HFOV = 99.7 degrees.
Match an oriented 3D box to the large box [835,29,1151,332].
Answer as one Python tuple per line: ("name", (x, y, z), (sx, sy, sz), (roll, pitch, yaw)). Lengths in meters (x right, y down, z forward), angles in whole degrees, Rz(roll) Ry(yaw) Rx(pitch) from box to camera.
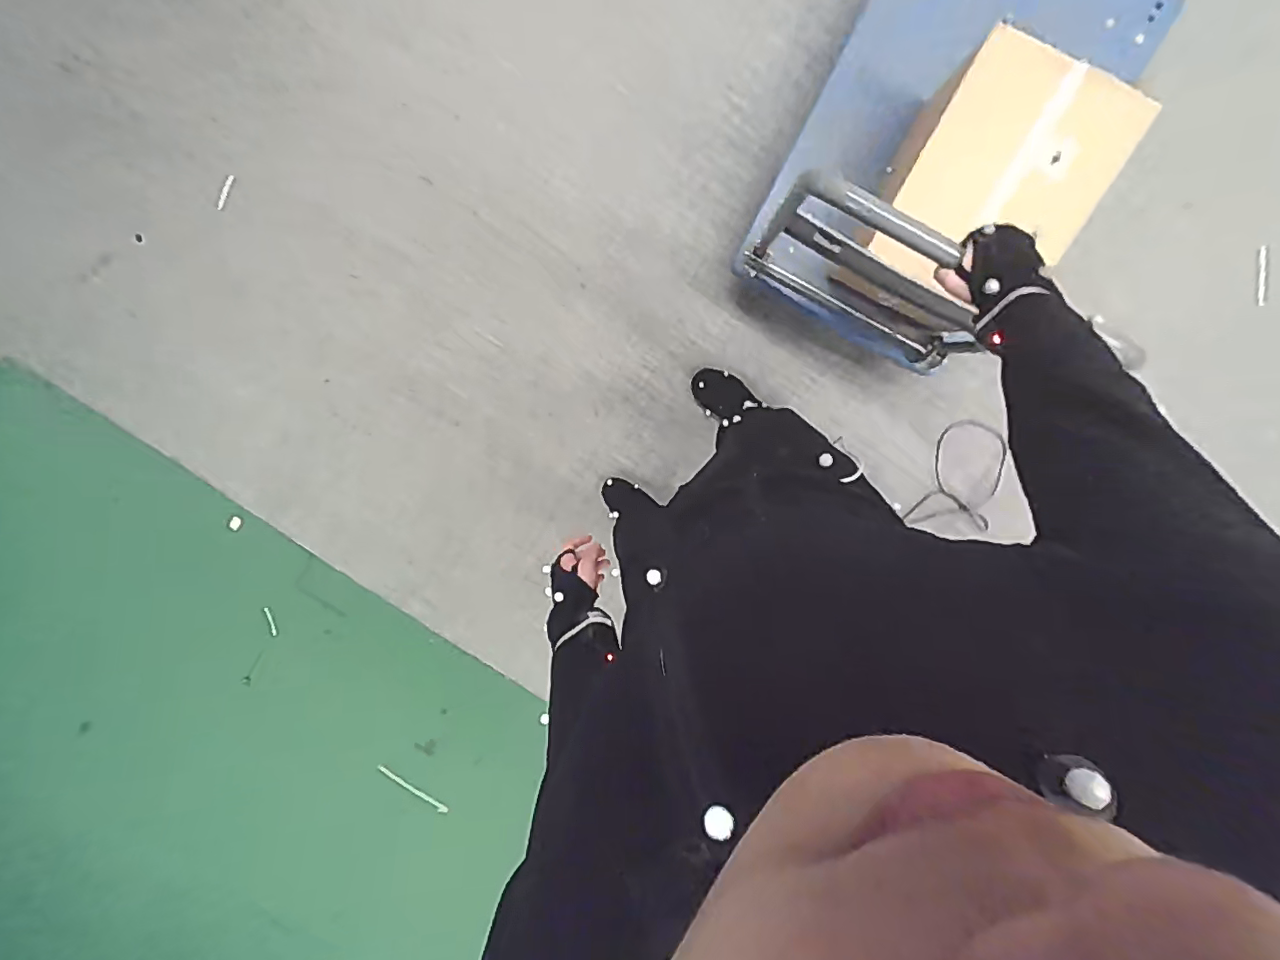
("large box", (0.662, -0.557, 1.104), (0.320, 0.320, 0.408), (27, 104, -1))
